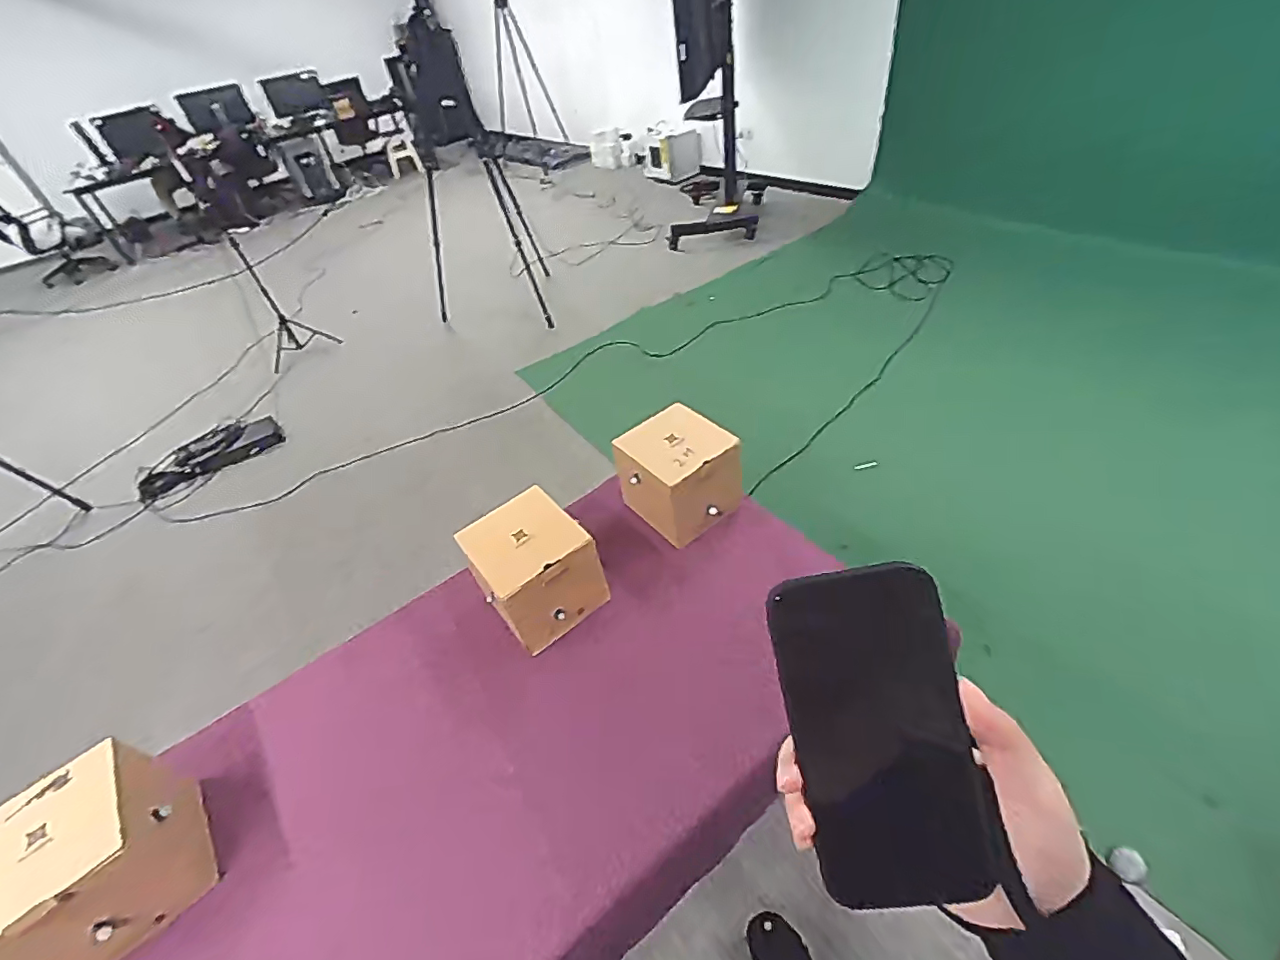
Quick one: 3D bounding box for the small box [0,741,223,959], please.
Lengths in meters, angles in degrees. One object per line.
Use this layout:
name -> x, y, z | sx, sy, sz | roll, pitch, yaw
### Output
small box -> -0.671, 0.477, 0.680 | 0.168, 0.176, 0.179 | -36, 49, -25

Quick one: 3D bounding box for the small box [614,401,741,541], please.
small box -> 0.075, -0.017, 1.029 | 0.168, 0.176, 0.179 | -33, 48, -20

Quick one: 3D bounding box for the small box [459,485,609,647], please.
small box -> -0.175, 0.147, 0.919 | 0.168, 0.176, 0.179 | -34, 48, -22
